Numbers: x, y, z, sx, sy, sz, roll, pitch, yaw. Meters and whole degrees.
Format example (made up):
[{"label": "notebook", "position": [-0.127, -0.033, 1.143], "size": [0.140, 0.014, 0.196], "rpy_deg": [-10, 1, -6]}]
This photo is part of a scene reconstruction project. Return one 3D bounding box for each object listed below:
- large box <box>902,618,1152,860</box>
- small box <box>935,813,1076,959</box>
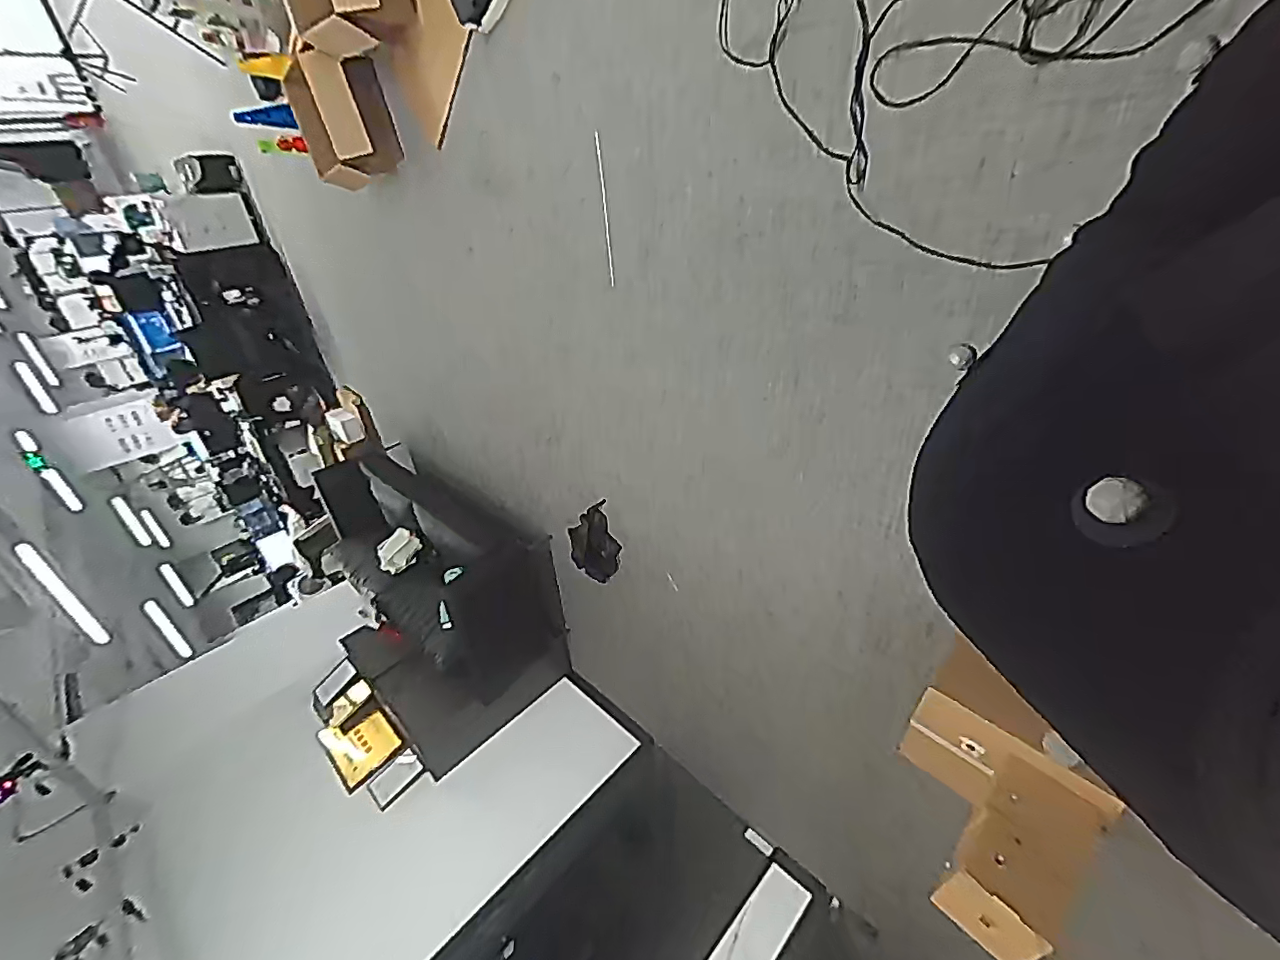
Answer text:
[{"label": "large box", "position": [0.974, 0.641, 1.393], "size": [0.408, 0.320, 0.320], "rpy_deg": [30, 135, 37]}, {"label": "small box", "position": [0.744, 0.827, 1.101], "size": [0.168, 0.176, 0.179], "rpy_deg": [34, 139, 35]}]
